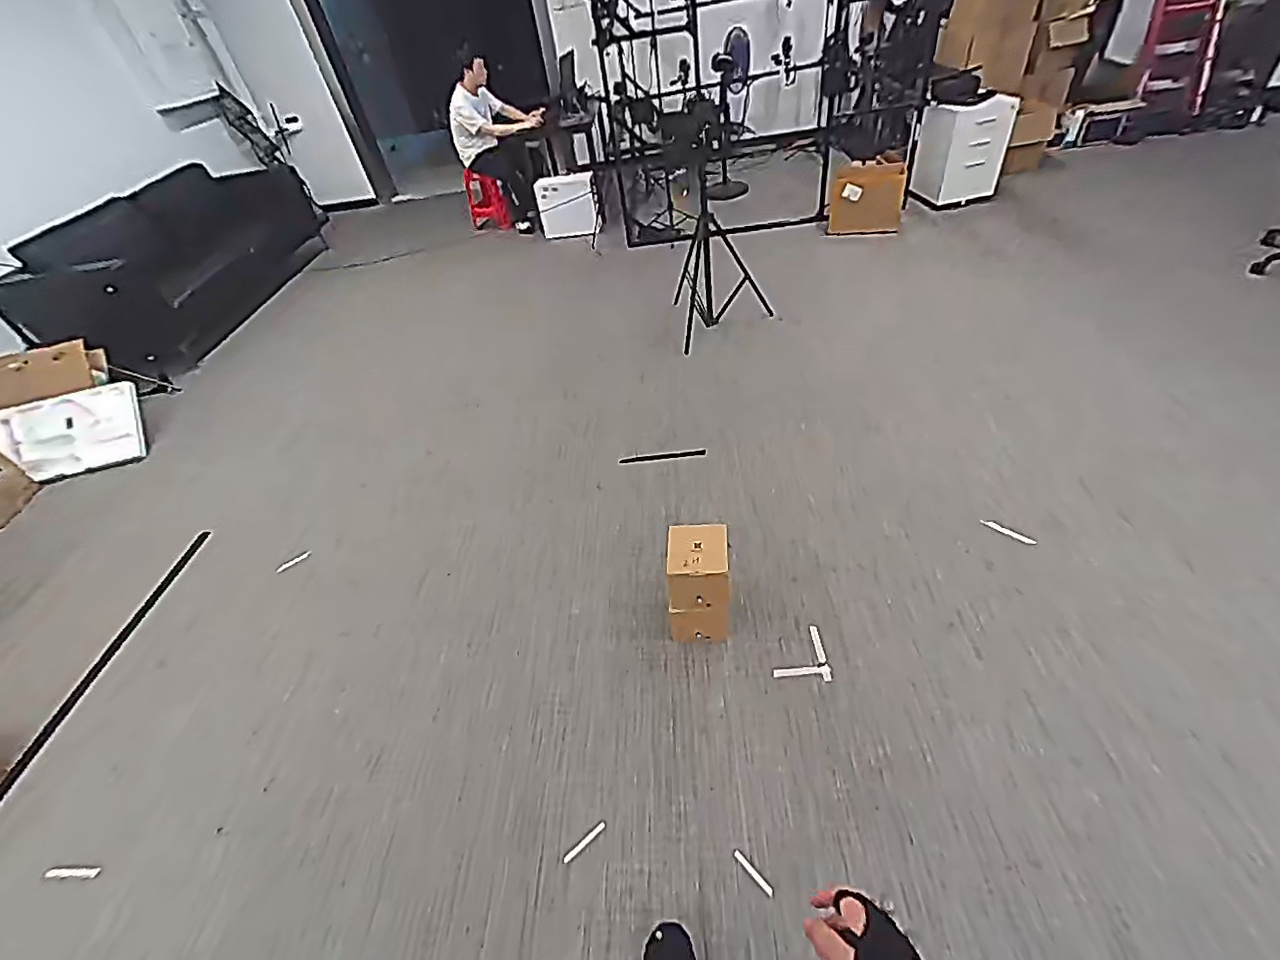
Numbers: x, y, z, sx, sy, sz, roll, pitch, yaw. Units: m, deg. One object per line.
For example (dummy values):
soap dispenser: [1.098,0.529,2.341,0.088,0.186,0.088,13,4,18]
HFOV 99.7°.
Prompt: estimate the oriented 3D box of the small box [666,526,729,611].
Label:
small box: [0.167,0.252,1.539,0.168,0.176,0.179,-3,43,10]
